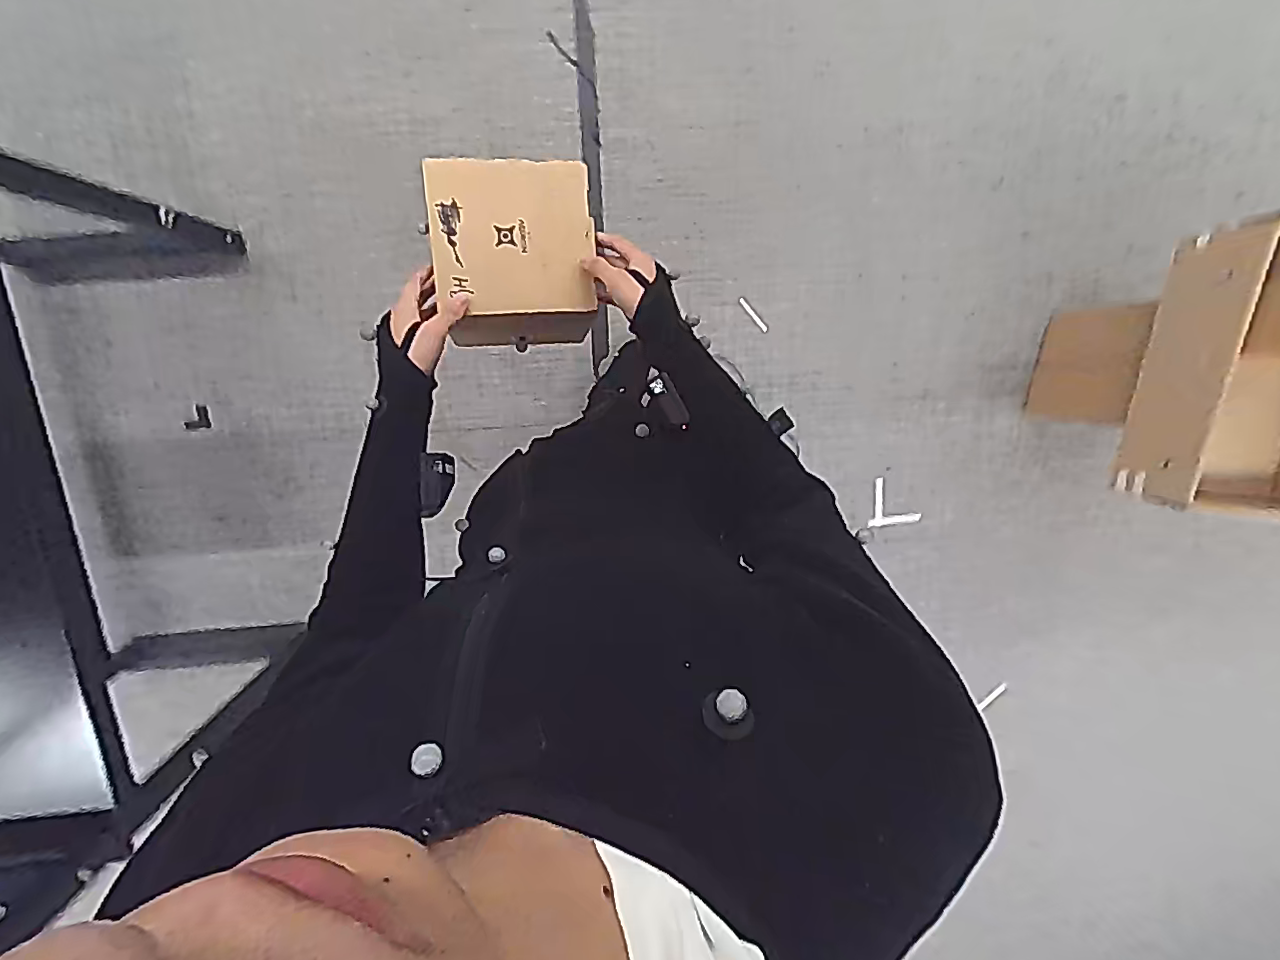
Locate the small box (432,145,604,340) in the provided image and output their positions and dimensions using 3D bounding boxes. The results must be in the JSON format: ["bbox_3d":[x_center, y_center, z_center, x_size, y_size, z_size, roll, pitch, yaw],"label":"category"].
[{"bbox_3d":[-0.148,-0.272,0.660,0.179,0.176,0.168,-4,92,-13],"label":"small box"}]

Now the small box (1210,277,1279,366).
[{"bbox_3d":[1.410,-0.338,1.163,0.179,0.176,0.168,7,103,-8],"label":"small box"}]
